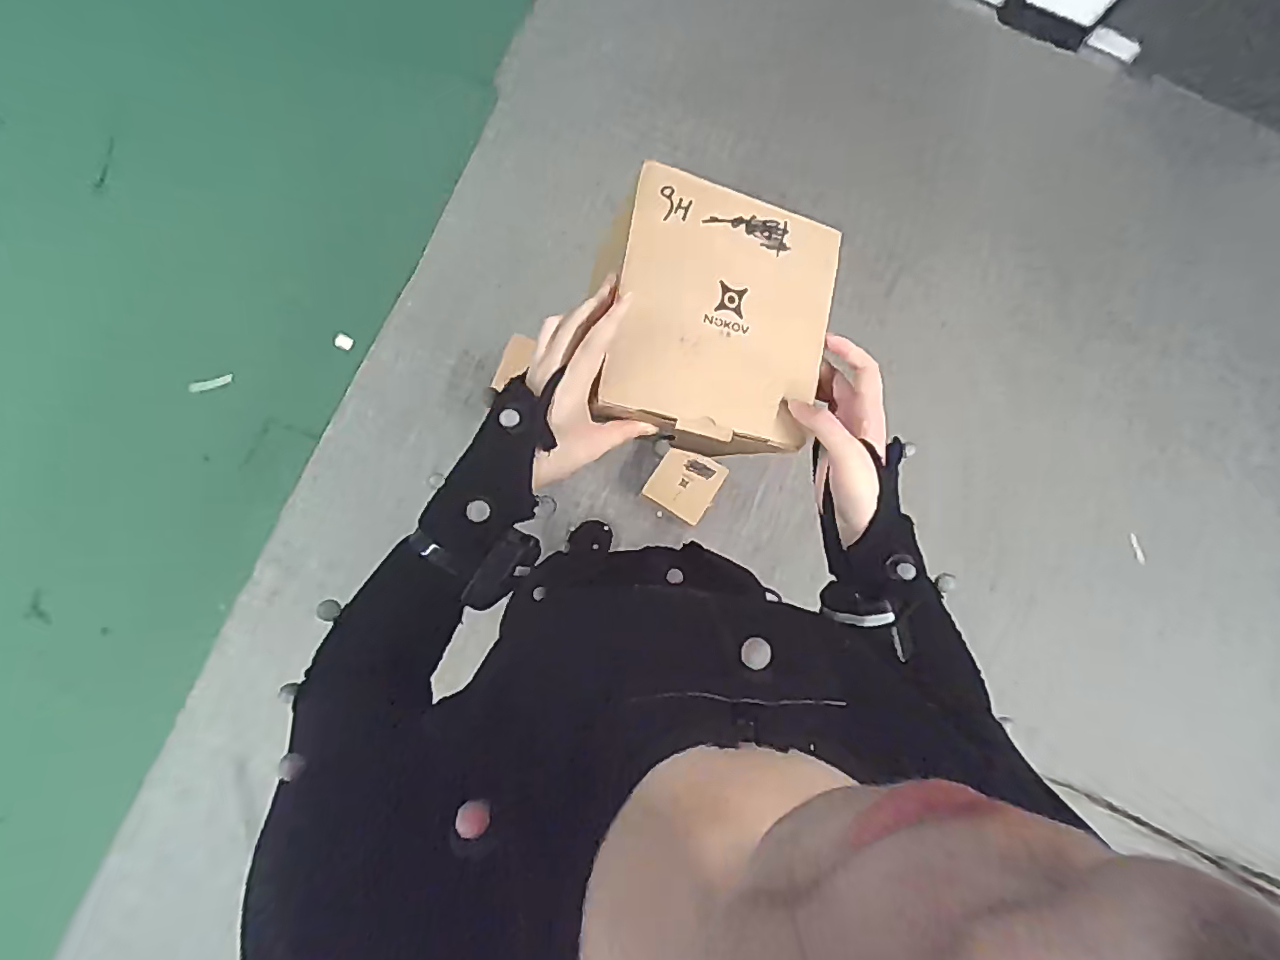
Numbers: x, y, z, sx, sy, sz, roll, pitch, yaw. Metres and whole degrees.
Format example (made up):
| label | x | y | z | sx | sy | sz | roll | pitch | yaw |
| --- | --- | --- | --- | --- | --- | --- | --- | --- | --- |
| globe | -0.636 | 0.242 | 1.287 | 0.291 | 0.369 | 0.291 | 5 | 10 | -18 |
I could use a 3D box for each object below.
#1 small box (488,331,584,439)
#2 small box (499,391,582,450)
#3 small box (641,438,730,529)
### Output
| label | x | y | z | sx | sy | sz | roll | pitch | yaw |
| --- | --- | --- | --- | --- | --- | --- | --- | --- | --- |
| small box | -0.240 | -0.219 | 1.291 | 0.168 | 0.176 | 0.179 | 21 | 80 | 1 |
| small box | -0.259 | -0.199 | 1.448 | 0.168 | 0.176 | 0.179 | 20 | 82 | -1 |
| small box | 0.112 | 0.016 | 1.445 | 0.168 | 0.176 | 0.179 | 34 | 83 | 1 |
